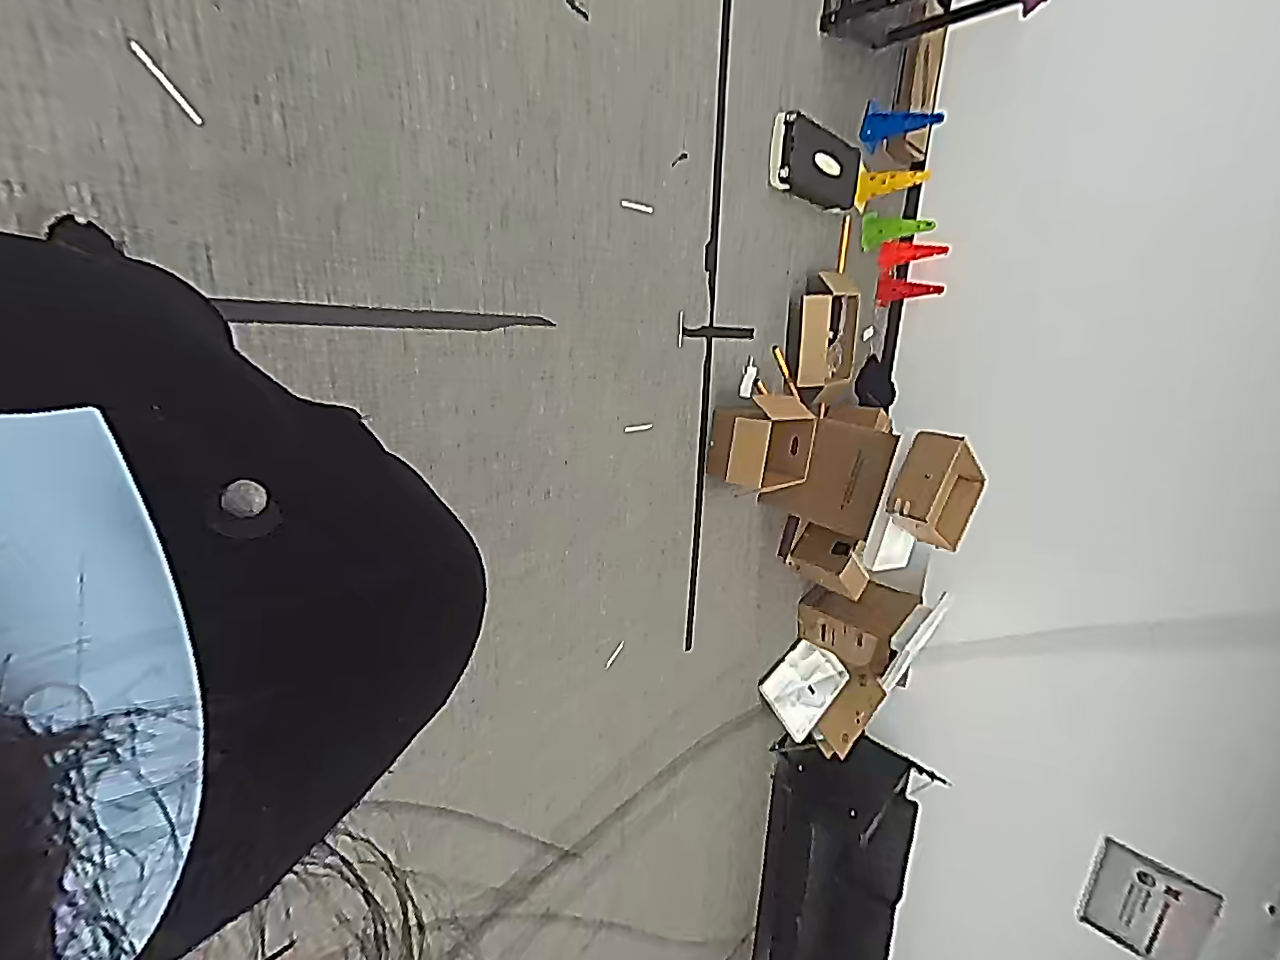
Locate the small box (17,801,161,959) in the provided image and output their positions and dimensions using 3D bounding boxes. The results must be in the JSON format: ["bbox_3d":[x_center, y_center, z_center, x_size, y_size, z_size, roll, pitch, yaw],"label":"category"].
[{"bbox_3d":[-1.052,0.773,1.041,0.168,0.176,0.179,-13,112,-44],"label":"small box"}]

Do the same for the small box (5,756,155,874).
[{"bbox_3d":[-1.173,0.731,1.142,0.168,0.176,0.179,-28,122,-39],"label":"small box"}]
